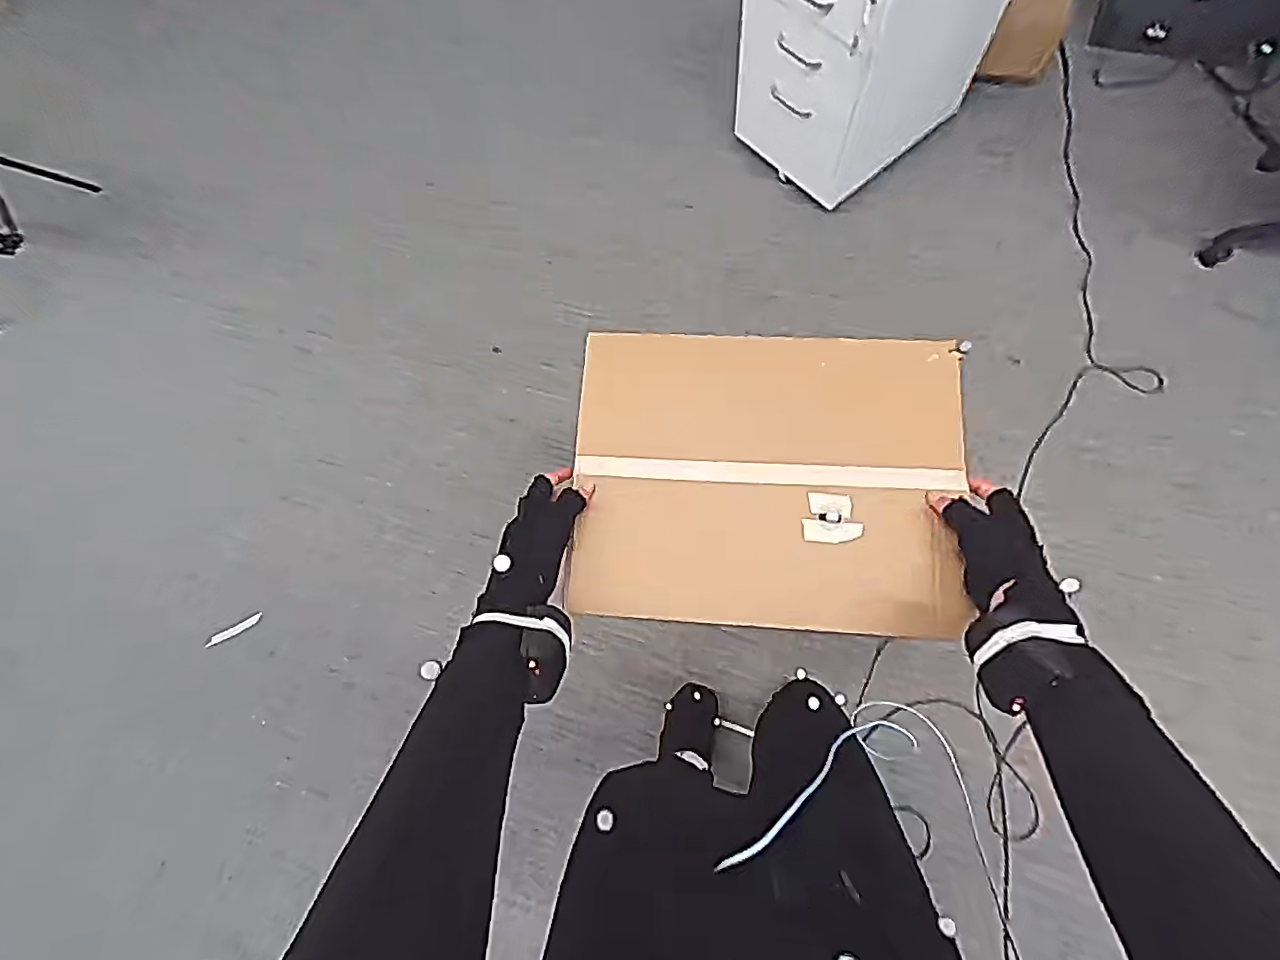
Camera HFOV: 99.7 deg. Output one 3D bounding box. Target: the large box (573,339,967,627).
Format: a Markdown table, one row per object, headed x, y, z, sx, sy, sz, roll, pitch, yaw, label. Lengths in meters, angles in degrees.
| x | y | z | sx | sy | sz | roll | pitch | yaw | label |
| --- | --- | --- | --- | --- | --- | --- | --- | --- | --- |
| 0.141 | 0.024 | 0.723 | 0.408 | 0.320 | 0.320 | 2 | 79 | 5 | large box |
